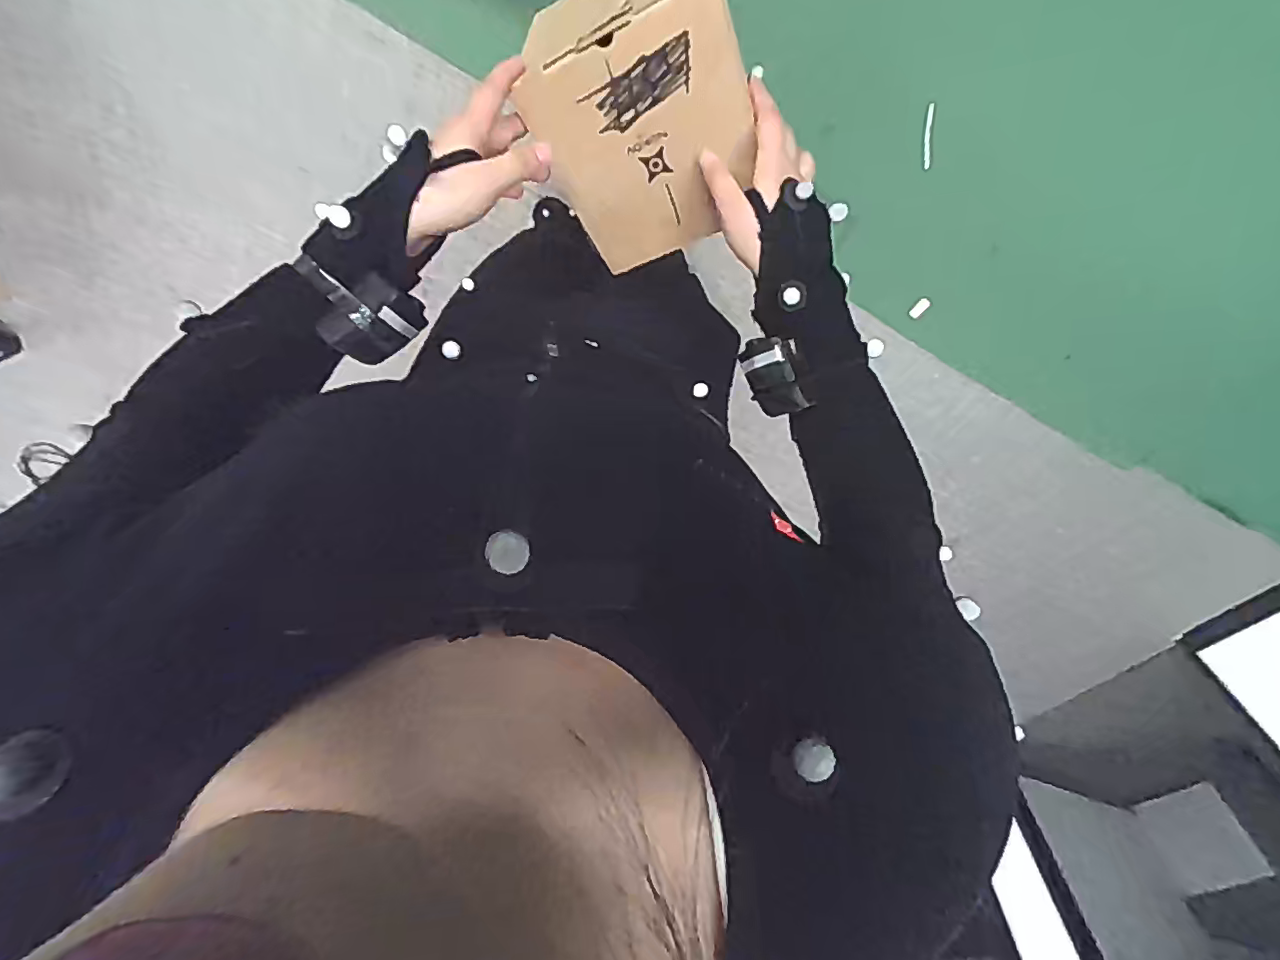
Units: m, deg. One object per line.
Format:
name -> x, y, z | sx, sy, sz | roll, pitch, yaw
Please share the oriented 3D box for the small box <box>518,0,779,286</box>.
small box -> 0.014, -0.319, 0.487 | 0.168, 0.176, 0.179 | -15, 143, 20
